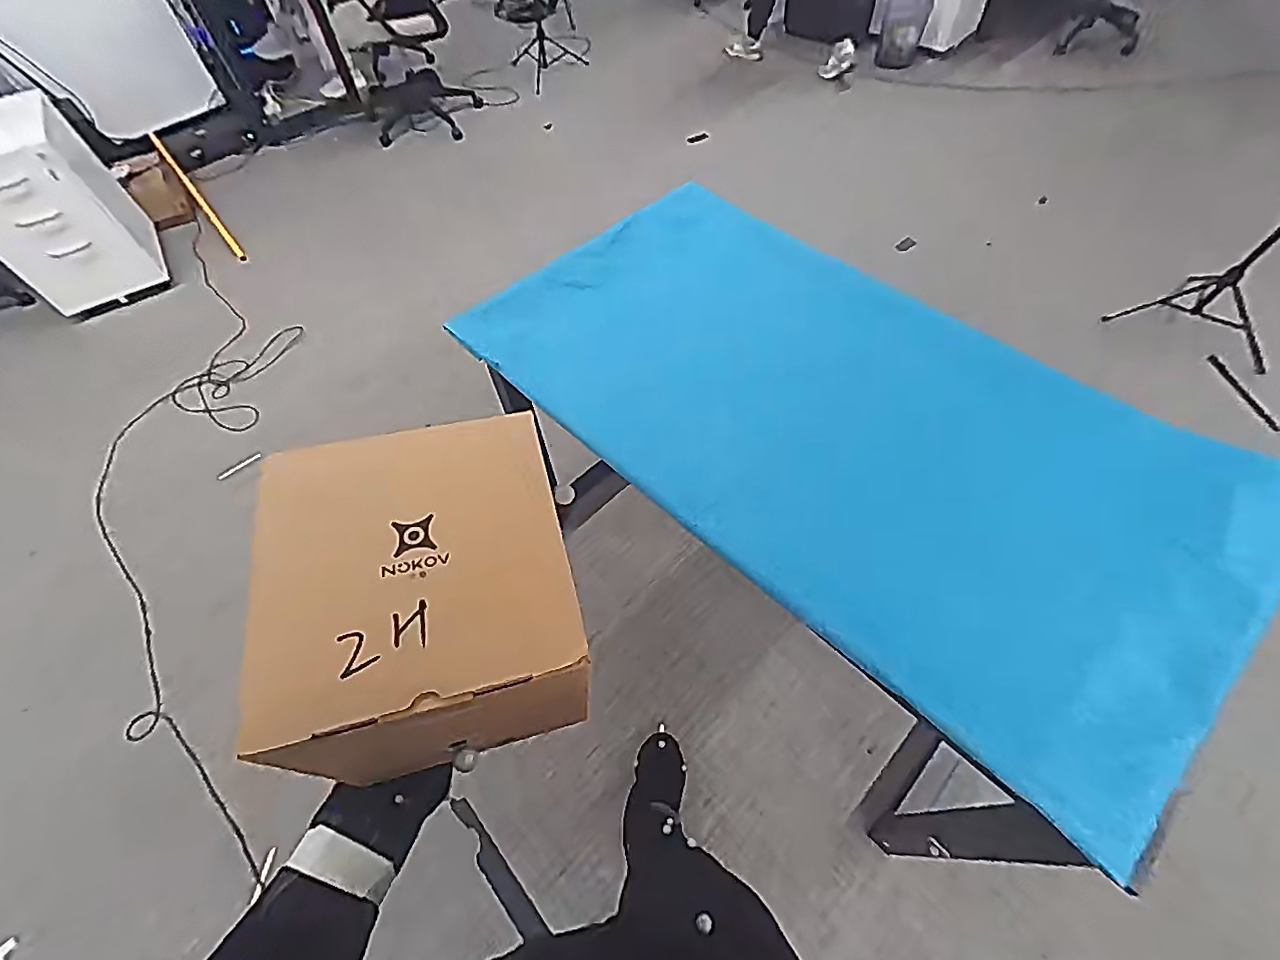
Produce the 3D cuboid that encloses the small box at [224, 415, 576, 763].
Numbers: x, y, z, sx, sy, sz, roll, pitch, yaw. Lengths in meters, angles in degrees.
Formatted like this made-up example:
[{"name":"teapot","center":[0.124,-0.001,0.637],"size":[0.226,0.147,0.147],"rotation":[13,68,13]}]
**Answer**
[{"name":"small box","center":[-0.138,0.081,0.375],"size":[0.168,0.176,0.179],"rotation":[-8,61,-9]}]
